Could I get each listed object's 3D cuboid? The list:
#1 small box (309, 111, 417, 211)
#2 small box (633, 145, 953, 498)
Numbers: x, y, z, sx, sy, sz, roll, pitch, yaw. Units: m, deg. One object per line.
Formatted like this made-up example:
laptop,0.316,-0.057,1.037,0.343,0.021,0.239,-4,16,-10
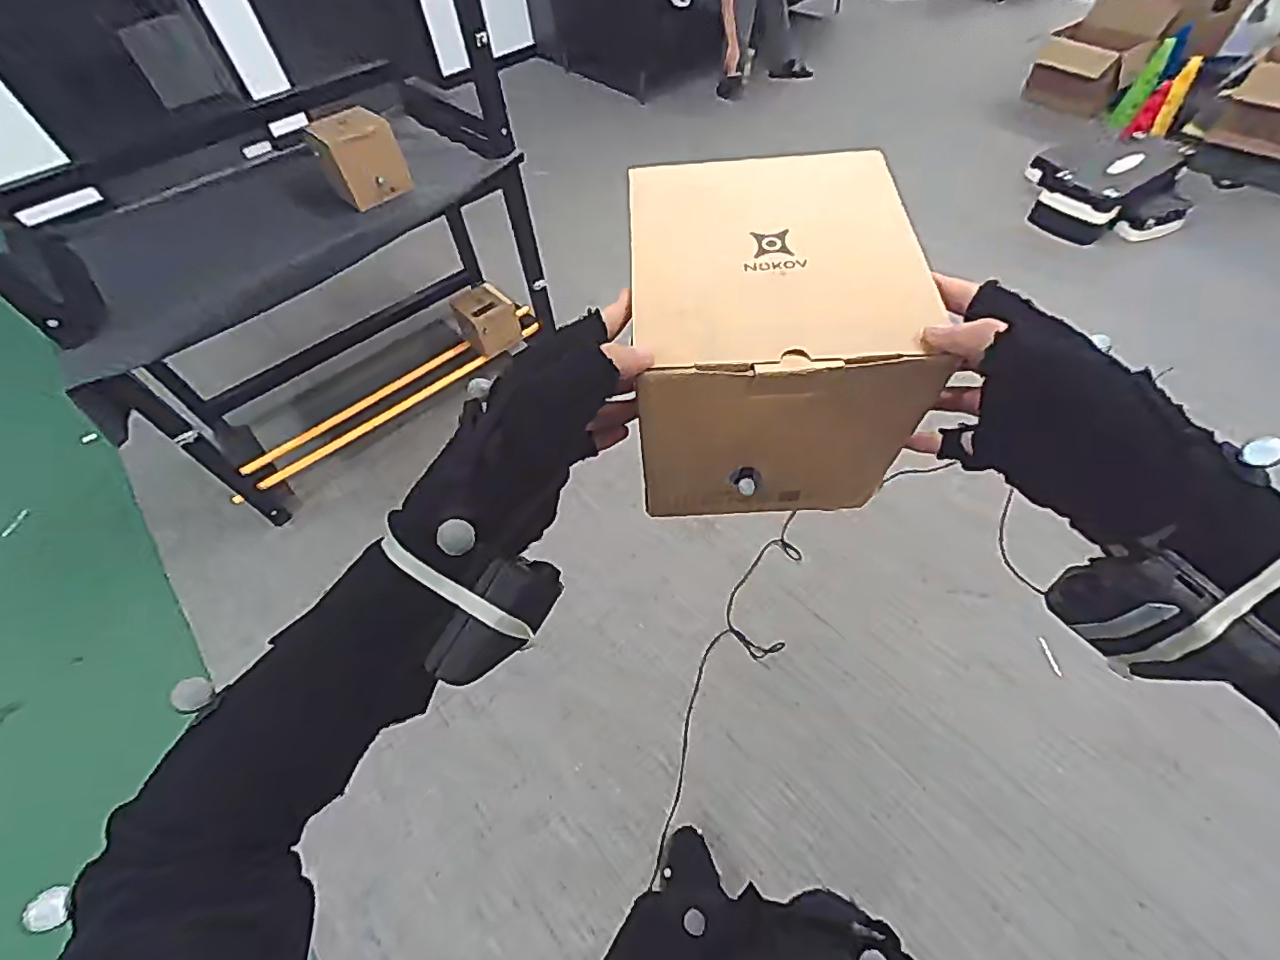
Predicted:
small box,-0.735,-0.850,1.447,0.168,0.176,0.179,-39,60,-21
small box,0.081,-0.104,0.389,0.168,0.176,0.179,-4,61,2
